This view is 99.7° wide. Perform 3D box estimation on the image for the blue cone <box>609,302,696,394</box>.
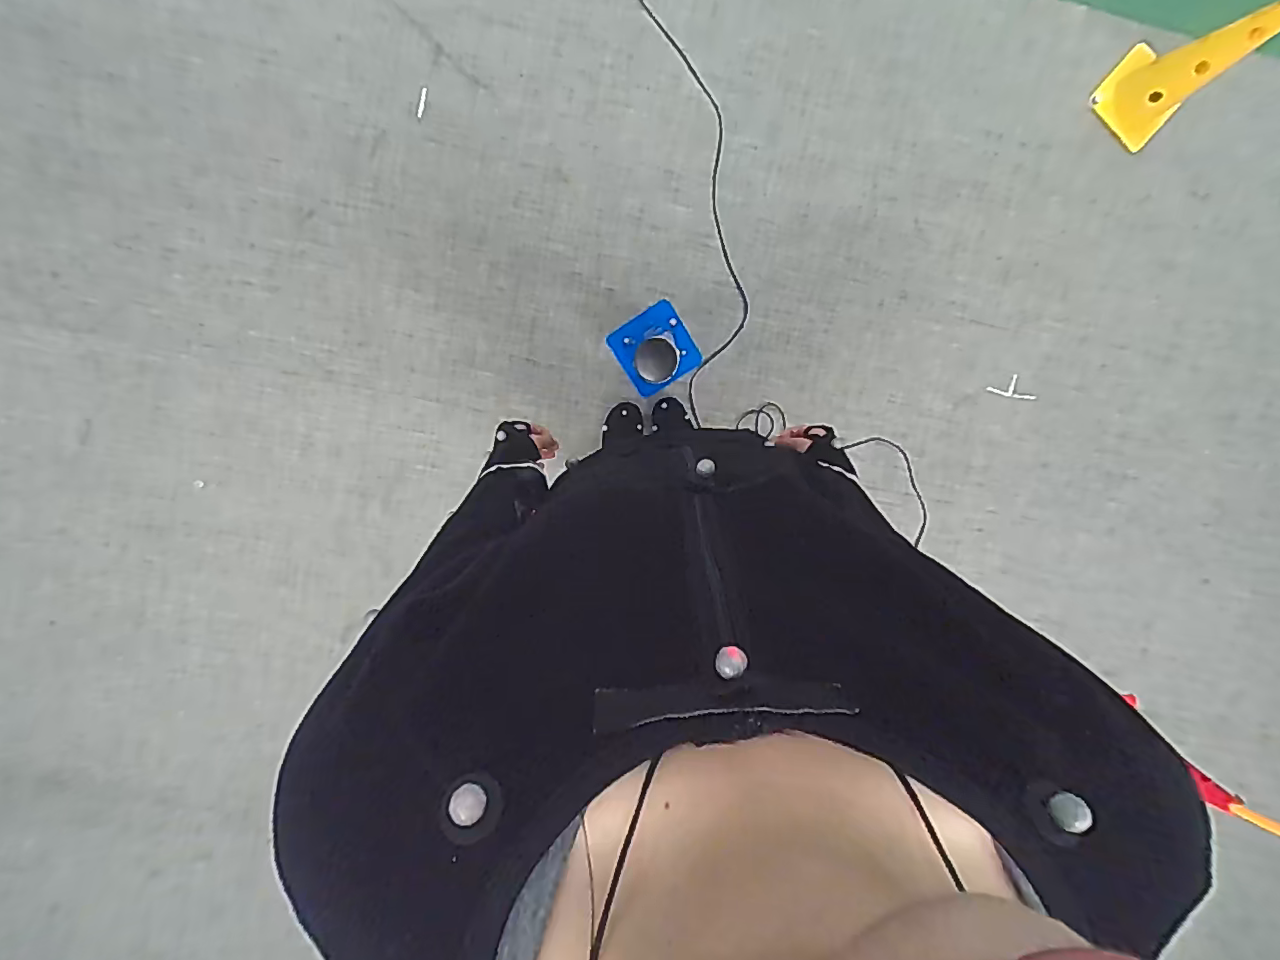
[{"bbox_3d":[0.041,-0.317,1.270,0.193,0.380,0.192,-34,99,4],"label":"blue cone"}]
